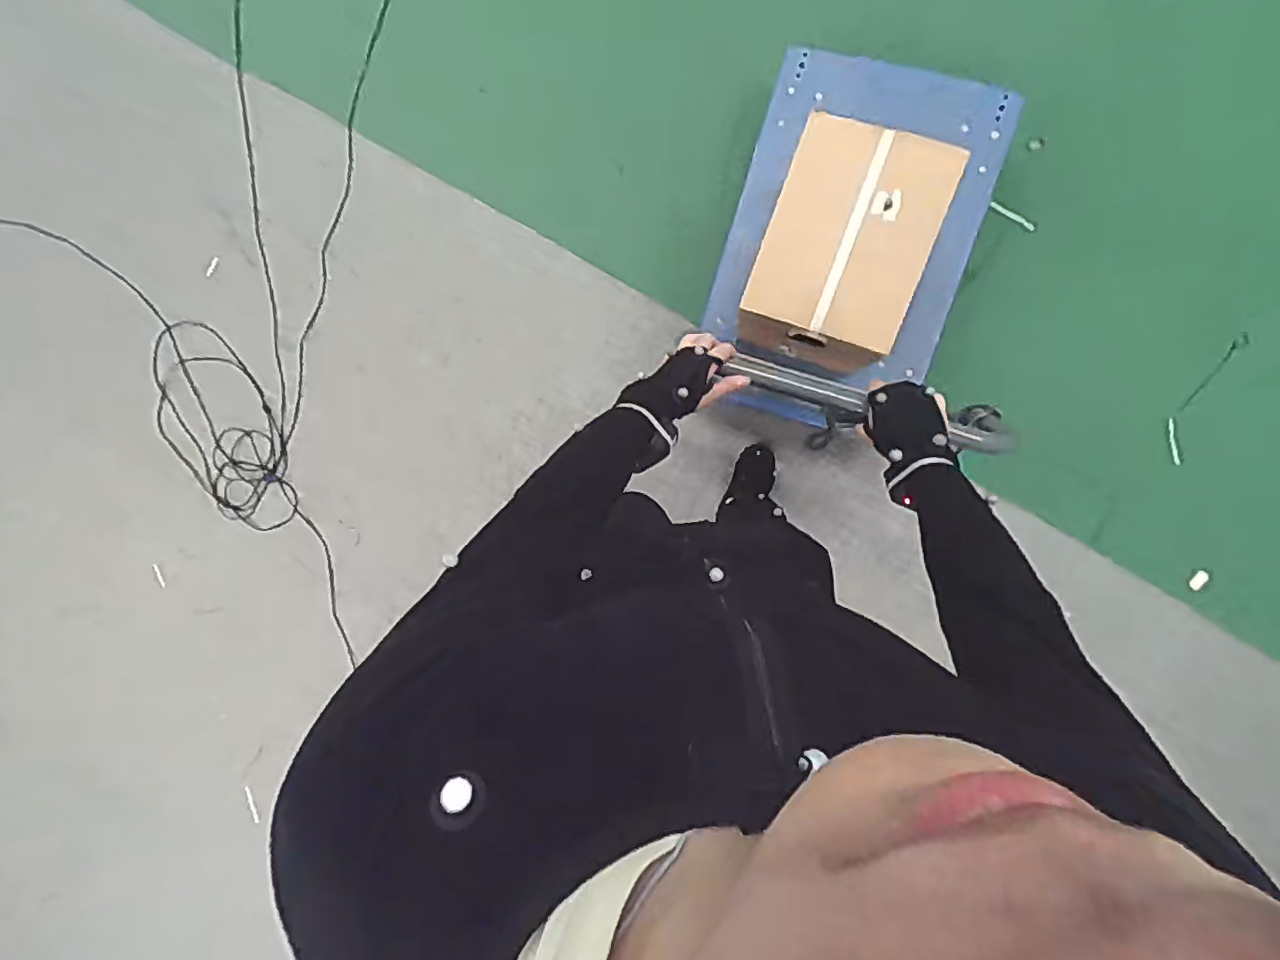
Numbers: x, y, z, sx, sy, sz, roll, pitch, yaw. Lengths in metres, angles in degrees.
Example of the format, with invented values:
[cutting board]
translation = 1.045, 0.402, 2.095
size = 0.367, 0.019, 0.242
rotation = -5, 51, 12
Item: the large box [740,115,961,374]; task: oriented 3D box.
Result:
[large box]
translation = 0.432, -0.492, 1.213
size = 0.320, 0.320, 0.408
rotation = 21, 96, 7
